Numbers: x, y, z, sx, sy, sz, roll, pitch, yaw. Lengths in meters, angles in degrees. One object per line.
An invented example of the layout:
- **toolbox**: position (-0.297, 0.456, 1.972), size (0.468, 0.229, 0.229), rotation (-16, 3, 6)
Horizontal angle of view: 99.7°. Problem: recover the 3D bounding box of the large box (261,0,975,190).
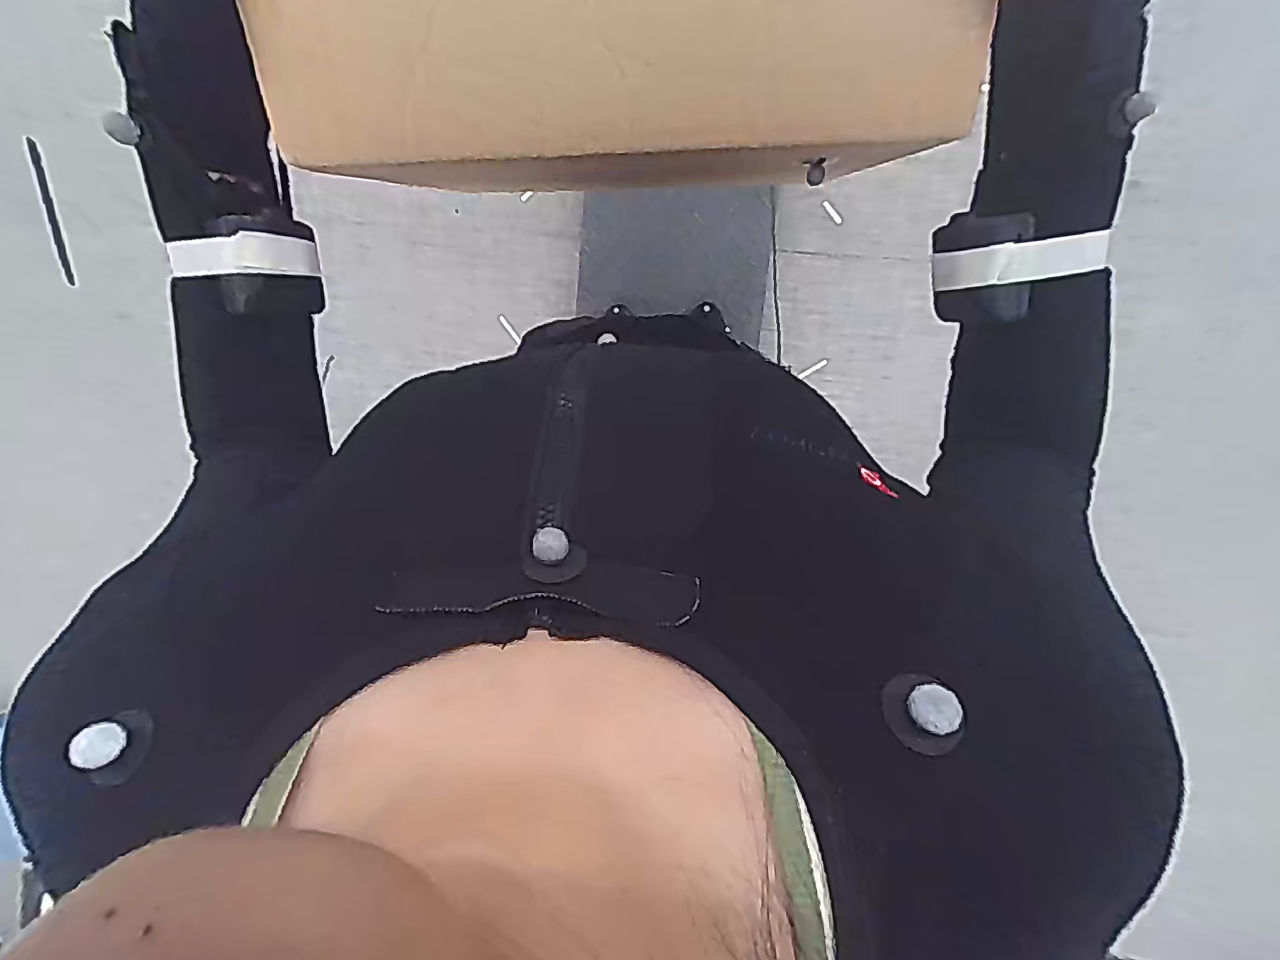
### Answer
- **large box**: position (-0.010, -0.401, 0.399), size (0.408, 0.320, 0.320), rotation (0, 115, 4)
